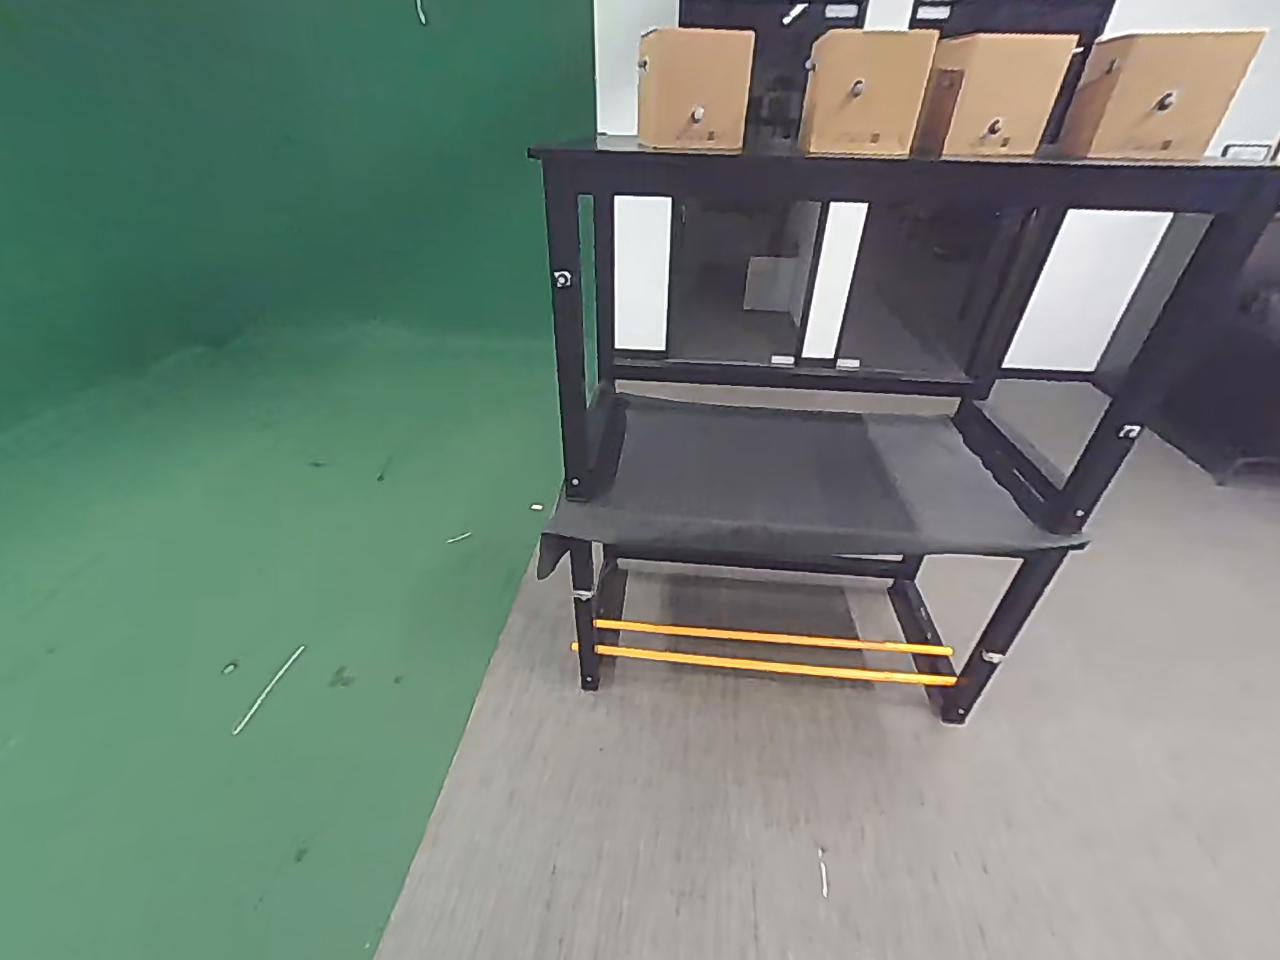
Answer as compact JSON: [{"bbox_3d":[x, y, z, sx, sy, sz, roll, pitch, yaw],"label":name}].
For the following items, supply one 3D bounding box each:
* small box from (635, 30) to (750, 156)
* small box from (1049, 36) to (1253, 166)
[{"bbox_3d":[0.085,-0.699,0.987,0.168,0.176,0.179,-5,36,-9],"label":"small box"},{"bbox_3d":[0.847,-0.639,0.922,0.168,0.176,0.179,10,35,13],"label":"small box"}]
